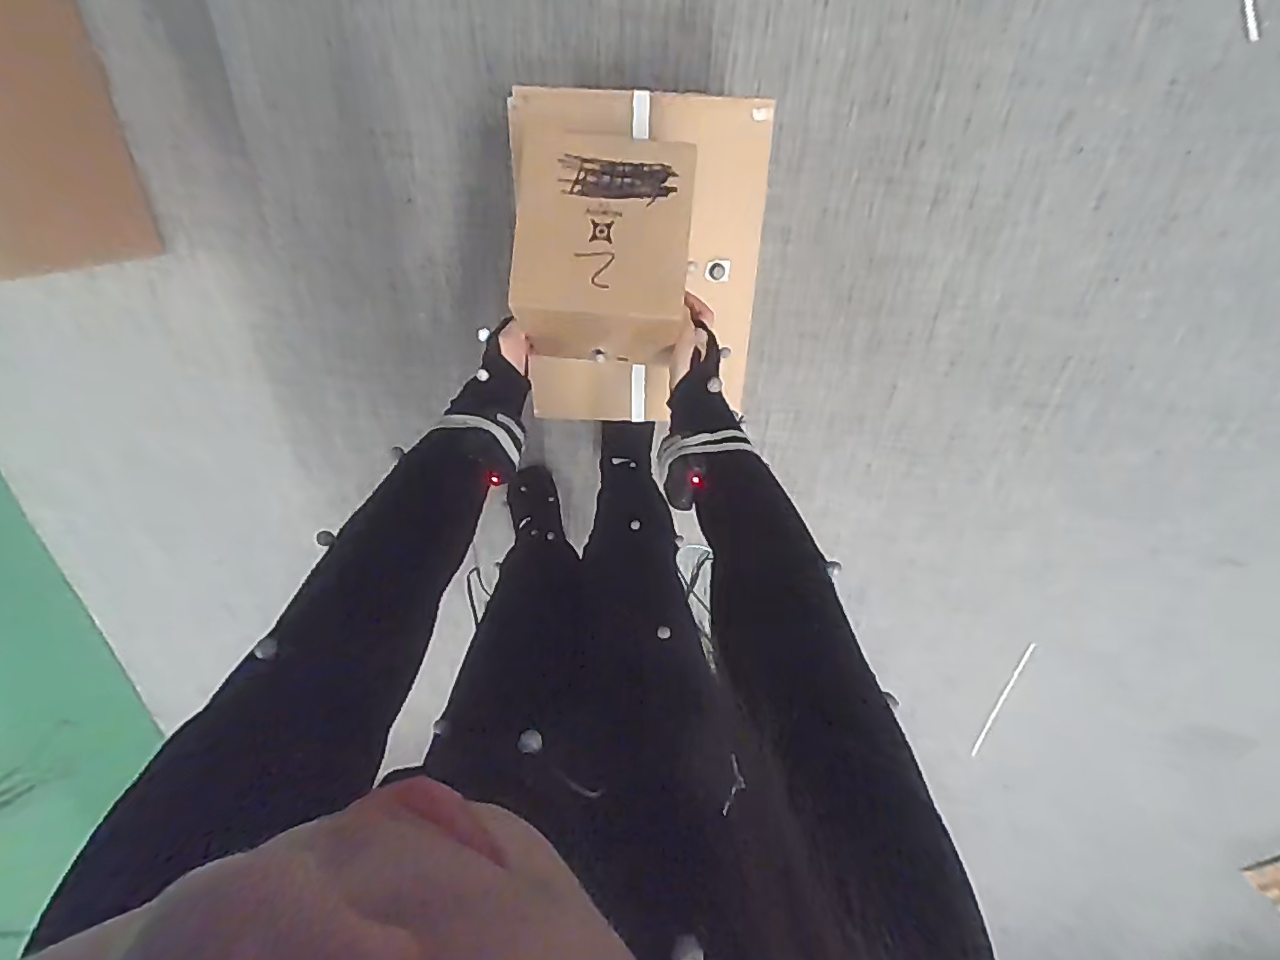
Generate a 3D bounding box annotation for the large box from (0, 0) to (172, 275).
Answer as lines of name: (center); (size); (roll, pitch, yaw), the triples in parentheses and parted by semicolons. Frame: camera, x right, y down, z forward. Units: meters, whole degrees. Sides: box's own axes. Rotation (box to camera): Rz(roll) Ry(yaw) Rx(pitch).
large box: (-1.003, -0.524, 0.770); (0.320, 0.320, 0.408); (2, 119, 0)
